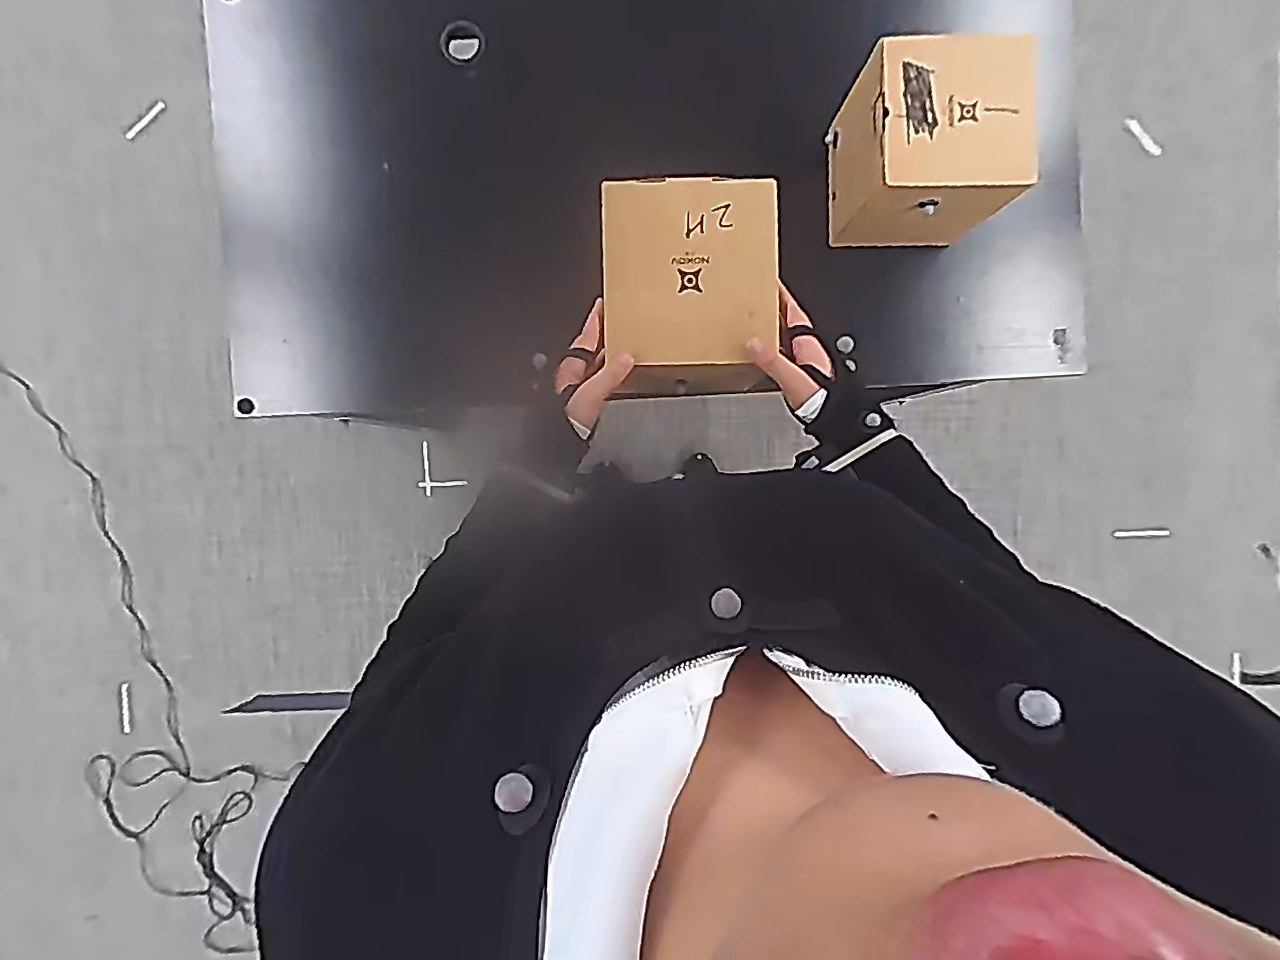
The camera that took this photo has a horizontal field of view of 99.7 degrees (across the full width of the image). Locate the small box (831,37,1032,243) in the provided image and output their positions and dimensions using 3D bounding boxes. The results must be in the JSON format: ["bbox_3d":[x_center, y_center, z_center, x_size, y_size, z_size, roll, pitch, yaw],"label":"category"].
[{"bbox_3d":[0.354,-0.416,0.688,0.179,0.176,0.168,-1,92,-1],"label":"small box"}]

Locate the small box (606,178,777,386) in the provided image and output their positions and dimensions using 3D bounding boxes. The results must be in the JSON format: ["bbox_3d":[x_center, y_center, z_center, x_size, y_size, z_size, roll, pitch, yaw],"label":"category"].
[{"bbox_3d":[0.049,-0.201,0.594,0.168,0.176,0.179,-1,89,-1],"label":"small box"}]
